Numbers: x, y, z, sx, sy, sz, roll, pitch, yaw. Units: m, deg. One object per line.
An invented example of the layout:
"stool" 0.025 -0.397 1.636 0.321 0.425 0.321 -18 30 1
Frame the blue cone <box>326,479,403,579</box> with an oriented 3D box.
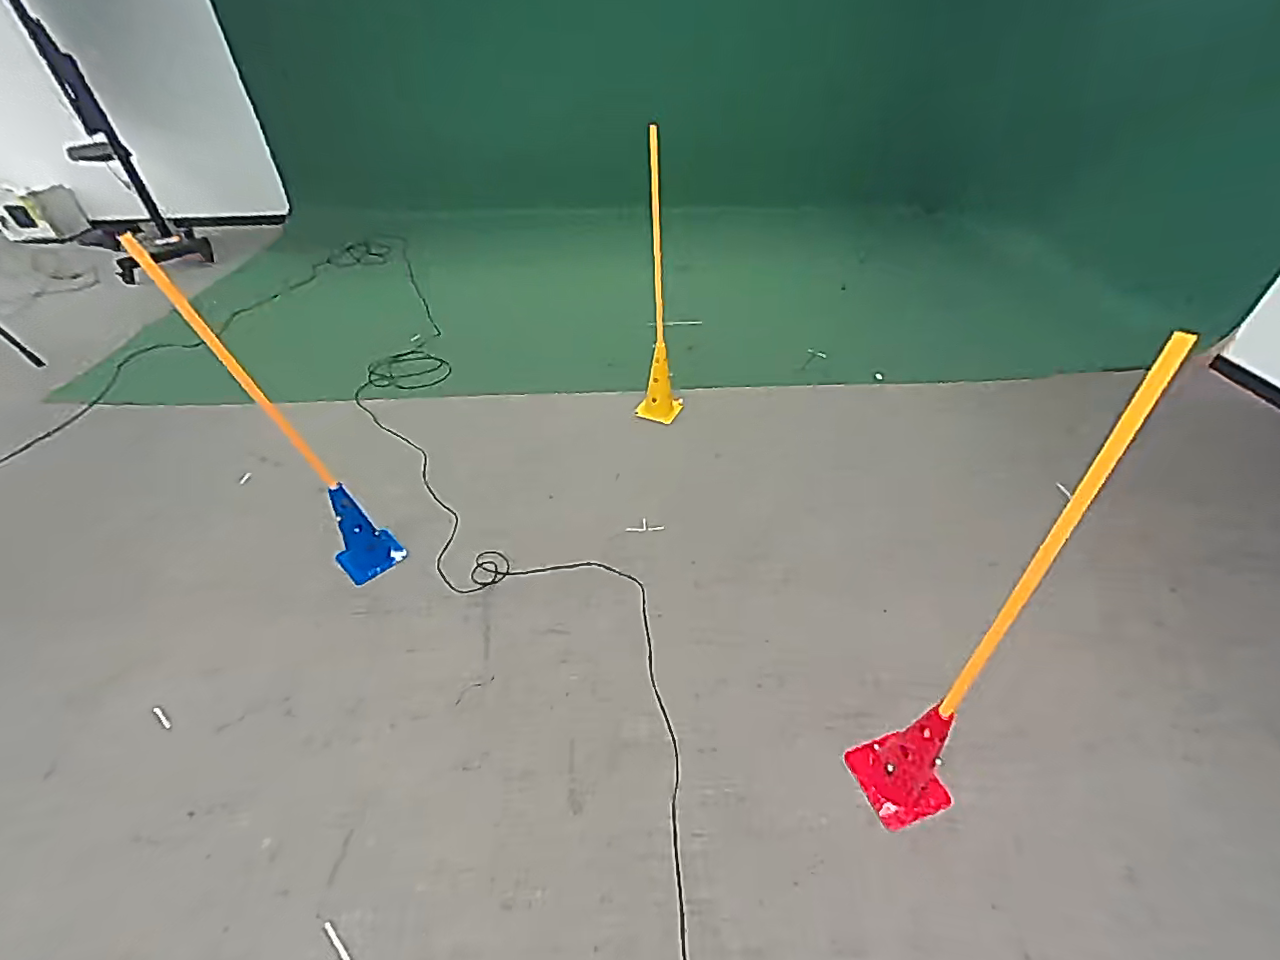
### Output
"blue cone" -0.987 0.148 1.864 0.192 0.380 0.193 31 52 30
